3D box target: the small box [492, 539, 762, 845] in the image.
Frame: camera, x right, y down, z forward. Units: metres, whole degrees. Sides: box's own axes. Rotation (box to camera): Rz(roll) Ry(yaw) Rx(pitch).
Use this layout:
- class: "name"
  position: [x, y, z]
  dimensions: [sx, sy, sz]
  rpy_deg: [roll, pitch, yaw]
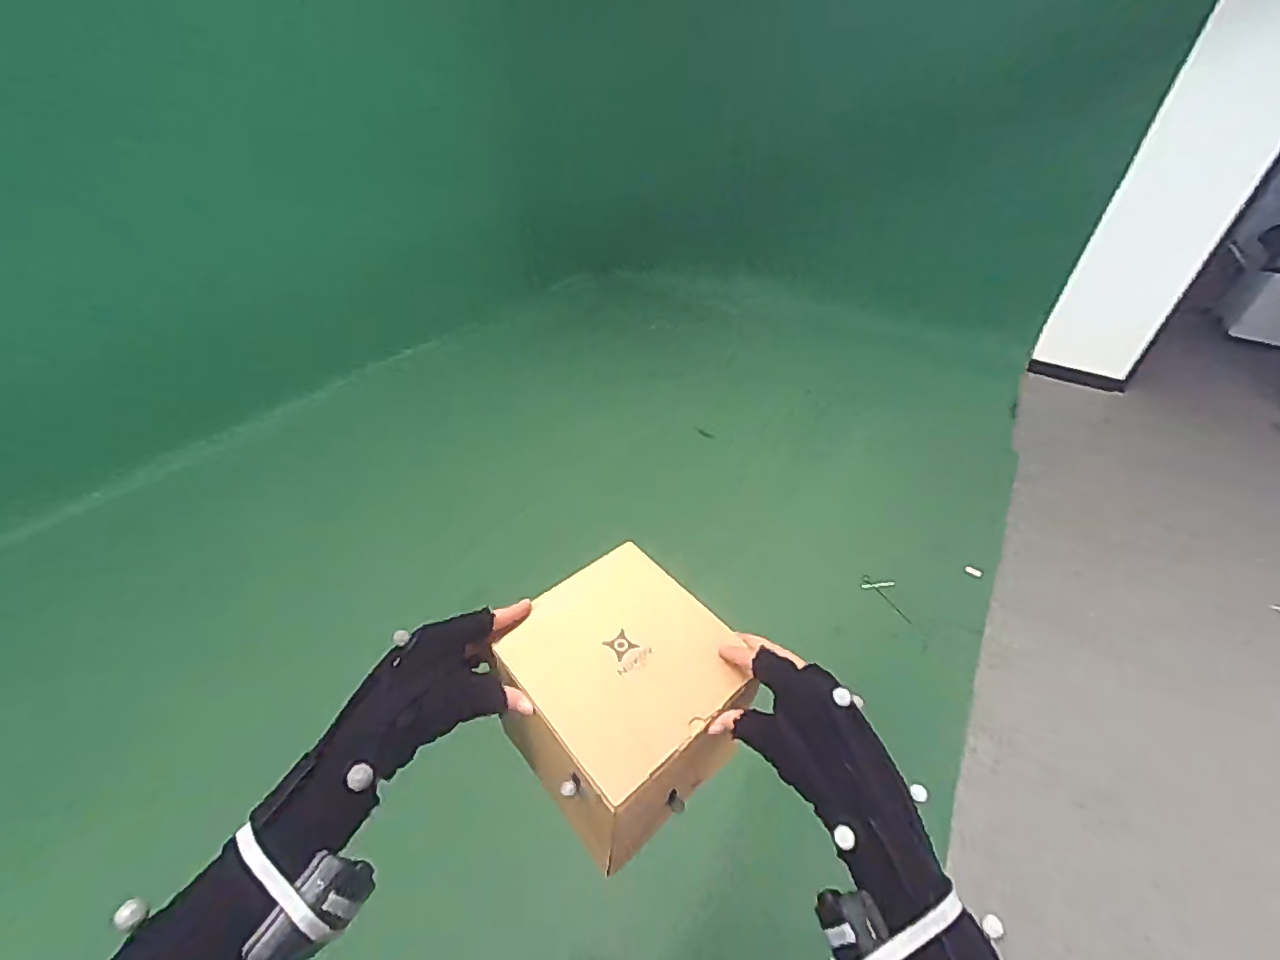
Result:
- class: "small box"
  position: [-0.020, 0.195, 0.510]
  dimensions: [0.168, 0.176, 0.179]
  rpy_deg: [-28, 53, -32]
